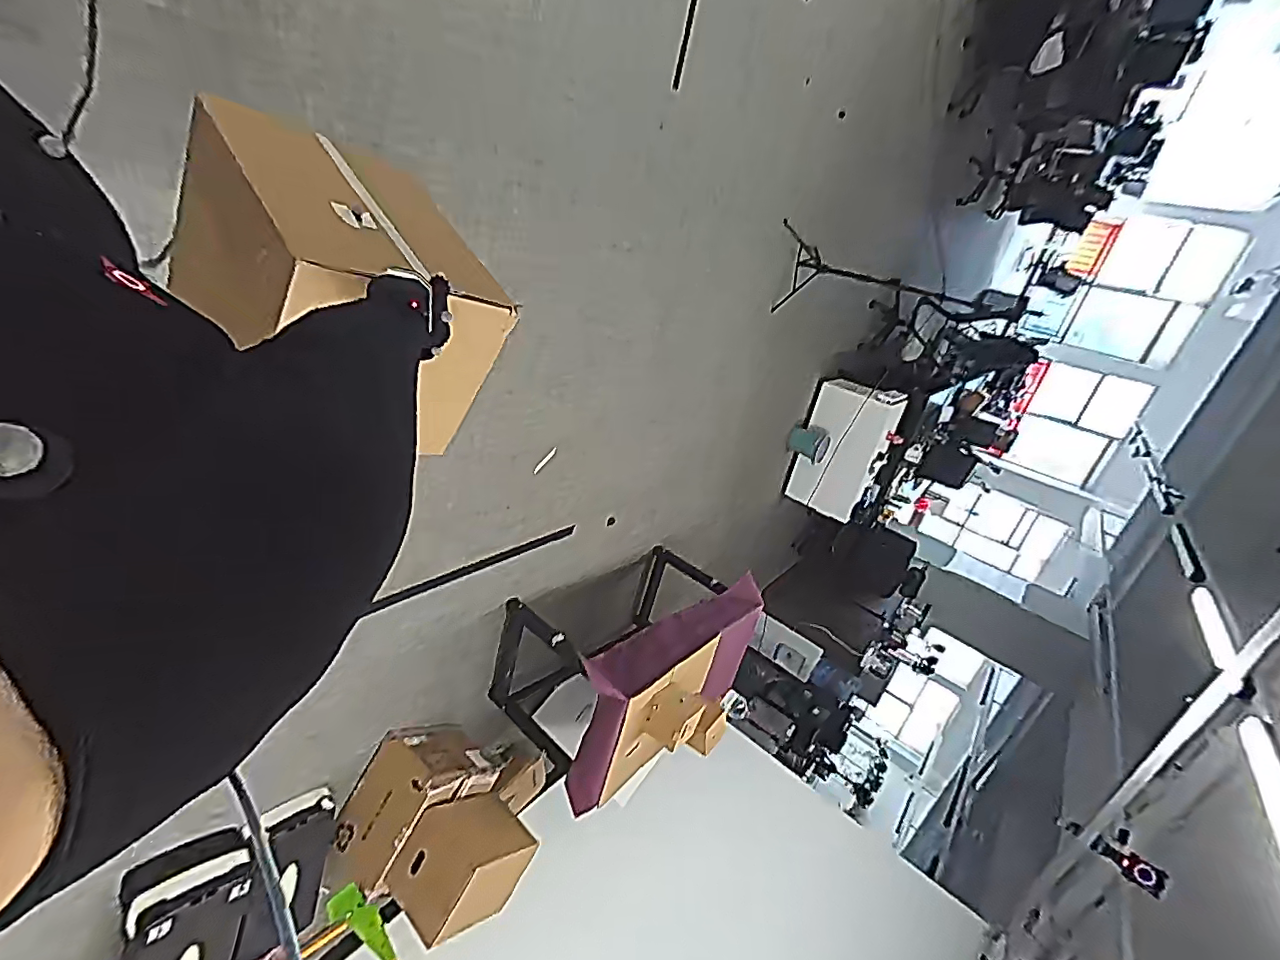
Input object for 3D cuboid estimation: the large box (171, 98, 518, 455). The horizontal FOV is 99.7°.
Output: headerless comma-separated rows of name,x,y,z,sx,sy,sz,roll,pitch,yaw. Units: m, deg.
large box,-0.478,-0.290,0.862,0.320,0.408,0.320,-7,143,-53
